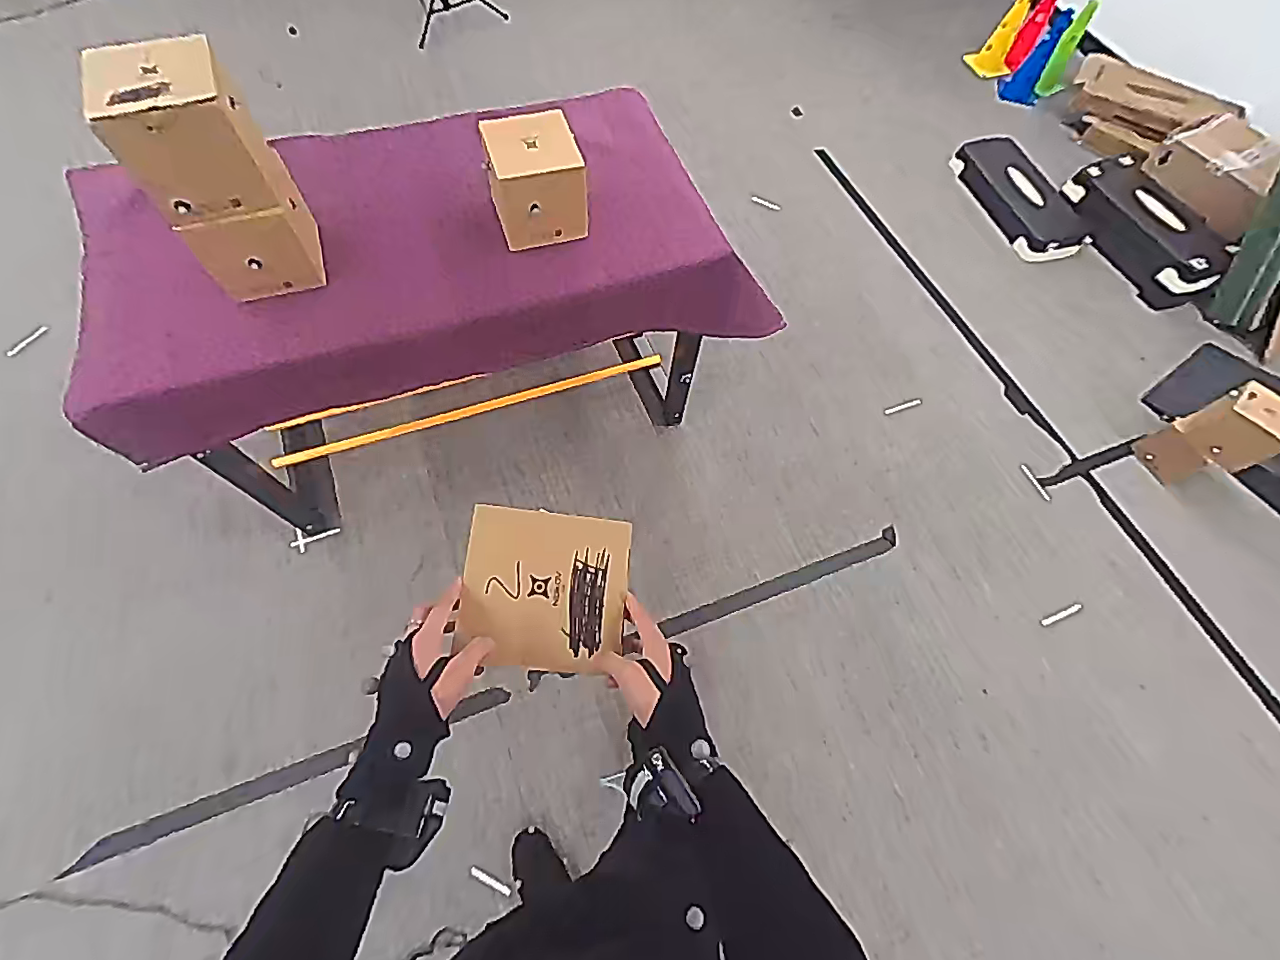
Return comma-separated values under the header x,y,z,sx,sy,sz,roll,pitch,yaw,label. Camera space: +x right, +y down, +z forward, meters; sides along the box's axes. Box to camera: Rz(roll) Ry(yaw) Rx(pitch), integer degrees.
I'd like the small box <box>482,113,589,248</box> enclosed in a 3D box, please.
x,y,z,sx,sy,sz,roll,pitch,yaw,label
-0.204,-0.593,1.090,0.168,0.176,0.179,-16,66,-11,small box

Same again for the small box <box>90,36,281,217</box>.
x,y,z,sx,sy,sz,roll,pitch,yaw,label
-0.692,-0.537,0.841,0.168,0.176,0.179,-19,67,-13,small box

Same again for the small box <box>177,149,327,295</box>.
x,y,z,sx,sy,sz,roll,pitch,yaw,label
-0.696,-0.459,0.986,0.168,0.176,0.179,-15,67,-12,small box
